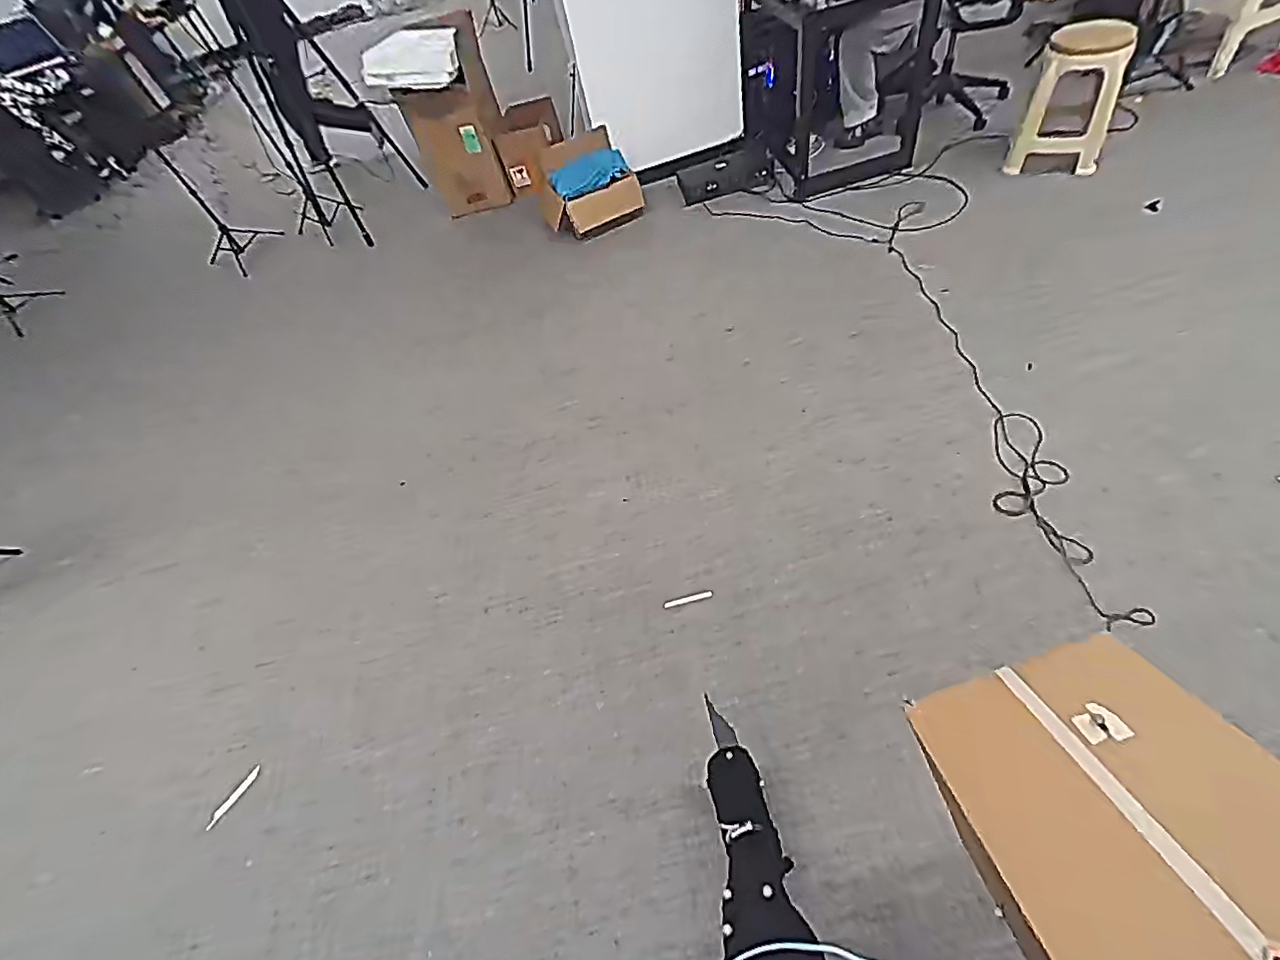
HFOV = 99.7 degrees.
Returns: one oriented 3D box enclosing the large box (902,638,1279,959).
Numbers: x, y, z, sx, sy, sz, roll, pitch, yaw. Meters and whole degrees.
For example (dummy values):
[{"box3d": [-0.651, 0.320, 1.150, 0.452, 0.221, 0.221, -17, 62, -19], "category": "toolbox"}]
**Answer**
[{"box3d": [0.616, 0.488, 0.685, 0.320, 0.320, 0.408, -25, 16, 9], "category": "large box"}]
